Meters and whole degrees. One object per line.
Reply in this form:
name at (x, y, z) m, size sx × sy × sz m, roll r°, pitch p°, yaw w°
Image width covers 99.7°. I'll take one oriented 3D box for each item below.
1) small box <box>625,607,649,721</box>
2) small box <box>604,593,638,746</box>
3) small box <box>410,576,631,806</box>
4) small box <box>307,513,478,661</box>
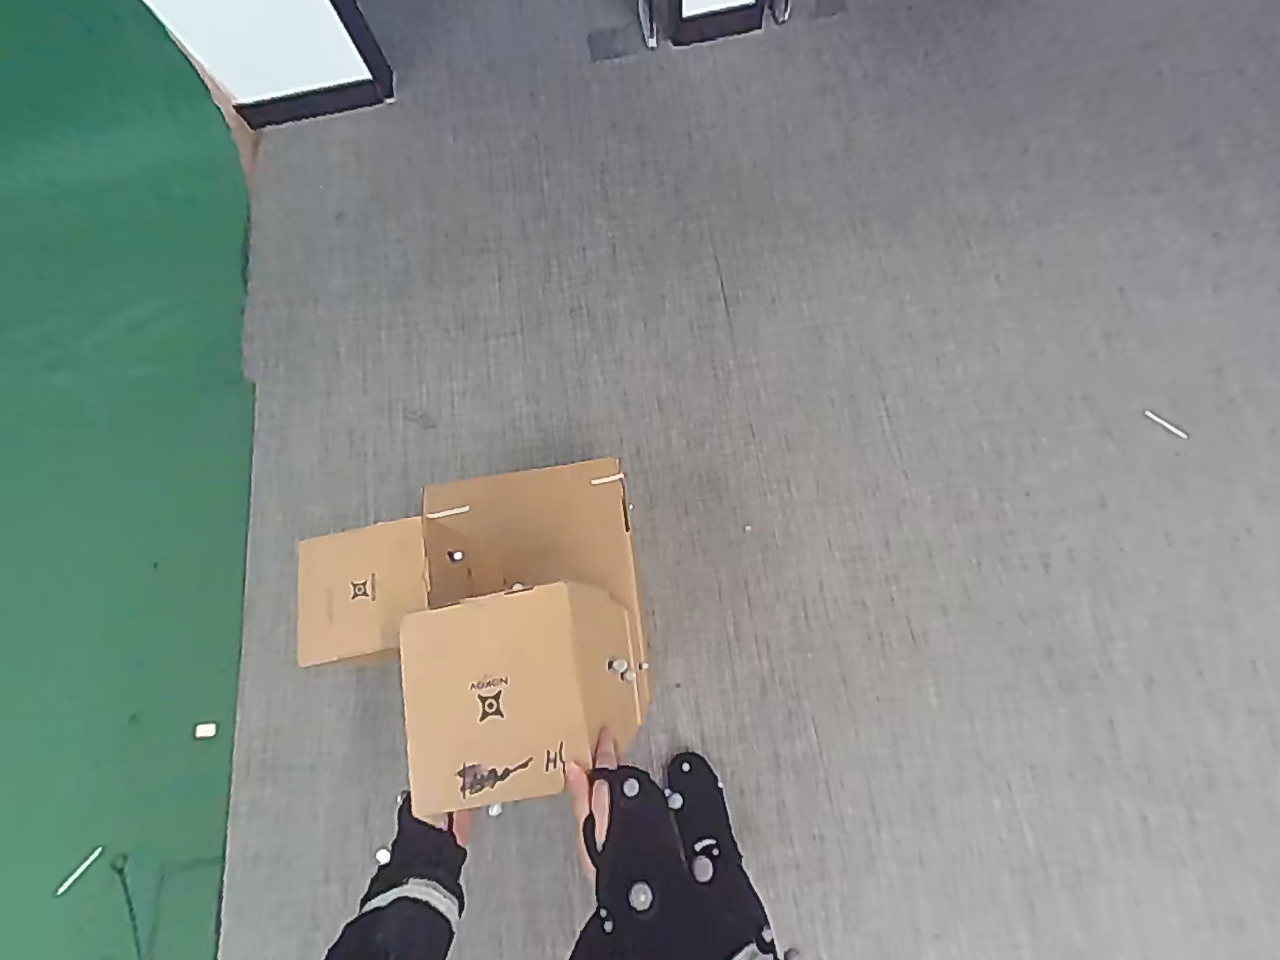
small box at (-0.081, 0.300, 0.879) m, size 0.179 × 0.176 × 0.168 m, roll -8°, pitch 73°, yaw 2°
small box at (-0.097, 0.253, 0.722) m, size 0.168 × 0.176 × 0.179 m, roll -8°, pitch 75°, yaw 3°
small box at (-0.113, 0.206, 0.560) m, size 0.168 × 0.176 × 0.179 m, roll -13°, pitch 74°, yaw 7°
small box at (-0.340, 0.158, 0.775) m, size 0.179 × 0.176 × 0.168 m, roll -12°, pitch 72°, yaw 3°
